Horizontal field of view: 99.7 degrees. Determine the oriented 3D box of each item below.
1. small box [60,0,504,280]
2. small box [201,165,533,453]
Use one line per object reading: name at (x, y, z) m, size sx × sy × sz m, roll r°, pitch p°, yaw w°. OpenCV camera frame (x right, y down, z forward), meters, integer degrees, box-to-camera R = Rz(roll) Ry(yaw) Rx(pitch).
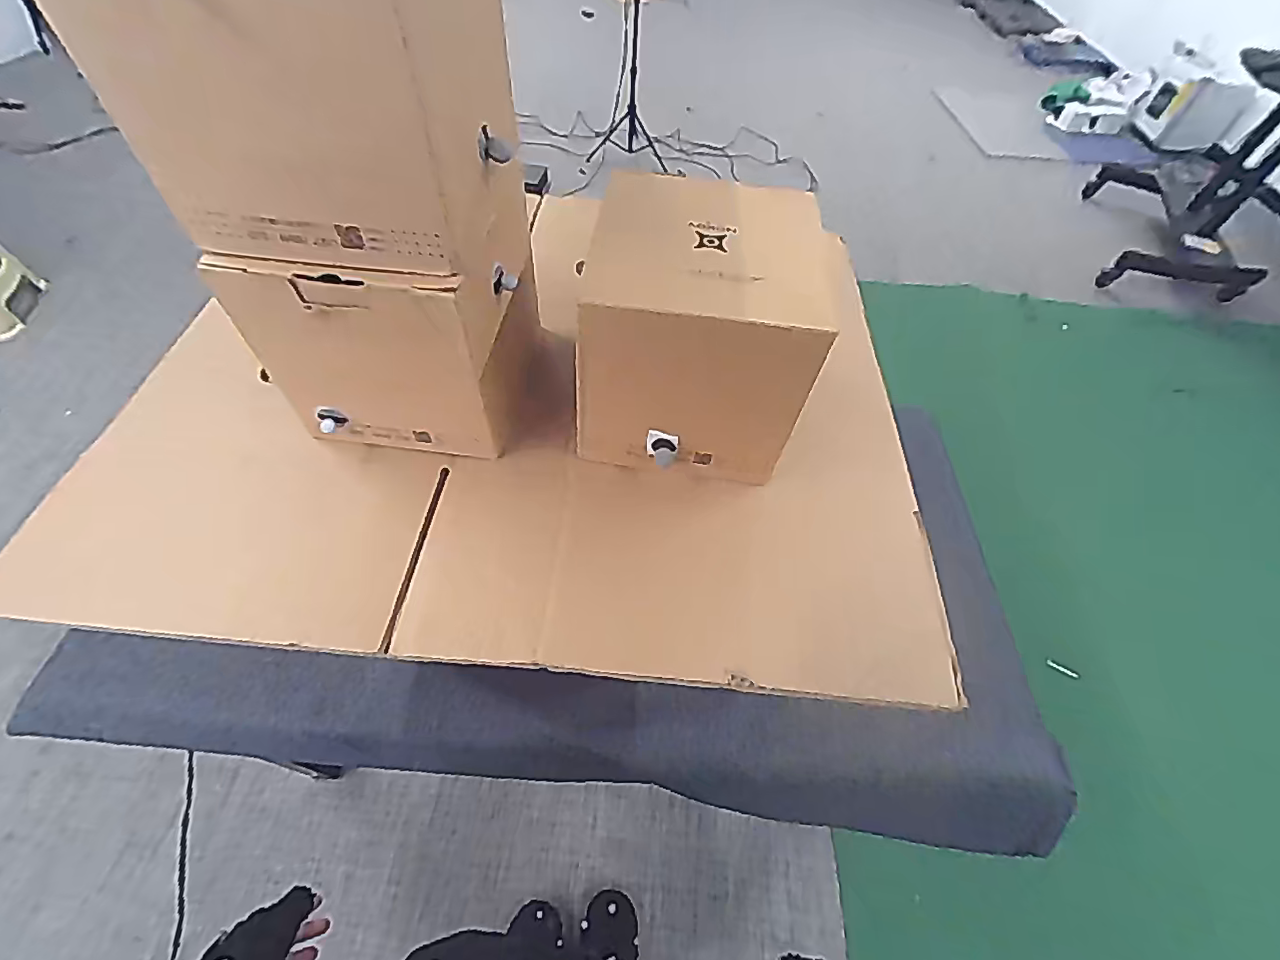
small box at (-0.186, -0.247, 0.324) m, size 0.168 × 0.176 × 0.179 m, roll 5°, pitch 54°, yaw 0°
small box at (-0.191, -0.142, 0.450) m, size 0.168 × 0.176 × 0.179 m, roll 6°, pitch 54°, yaw 1°
